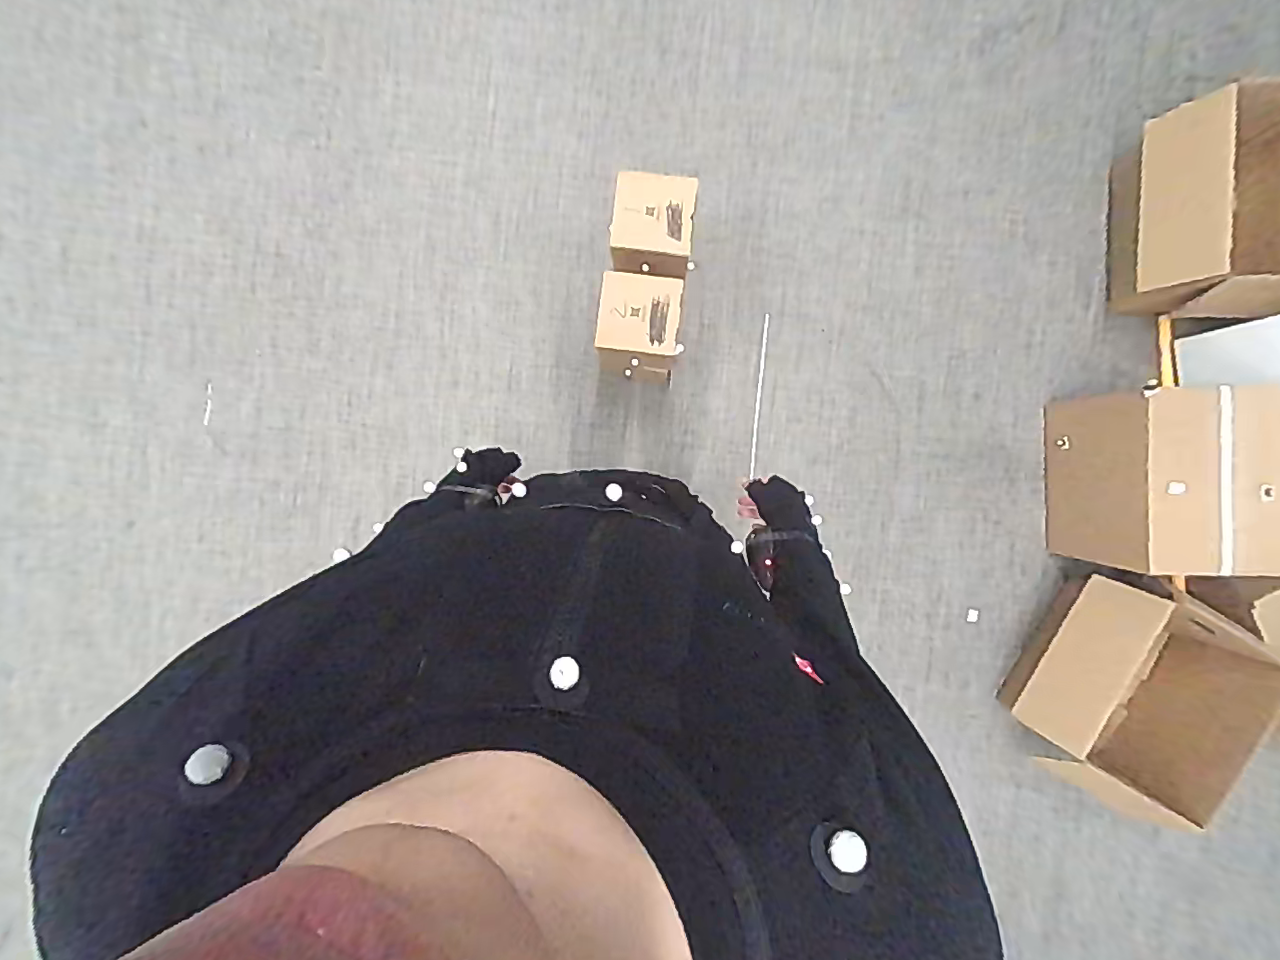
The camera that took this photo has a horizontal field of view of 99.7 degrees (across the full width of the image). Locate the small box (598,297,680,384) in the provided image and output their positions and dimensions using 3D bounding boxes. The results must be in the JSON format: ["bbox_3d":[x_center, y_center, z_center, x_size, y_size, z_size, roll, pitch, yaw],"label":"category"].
[{"bbox_3d":[-0.001,-0.352,1.393,0.179,0.176,0.168,12,92,1],"label":"small box"}]
